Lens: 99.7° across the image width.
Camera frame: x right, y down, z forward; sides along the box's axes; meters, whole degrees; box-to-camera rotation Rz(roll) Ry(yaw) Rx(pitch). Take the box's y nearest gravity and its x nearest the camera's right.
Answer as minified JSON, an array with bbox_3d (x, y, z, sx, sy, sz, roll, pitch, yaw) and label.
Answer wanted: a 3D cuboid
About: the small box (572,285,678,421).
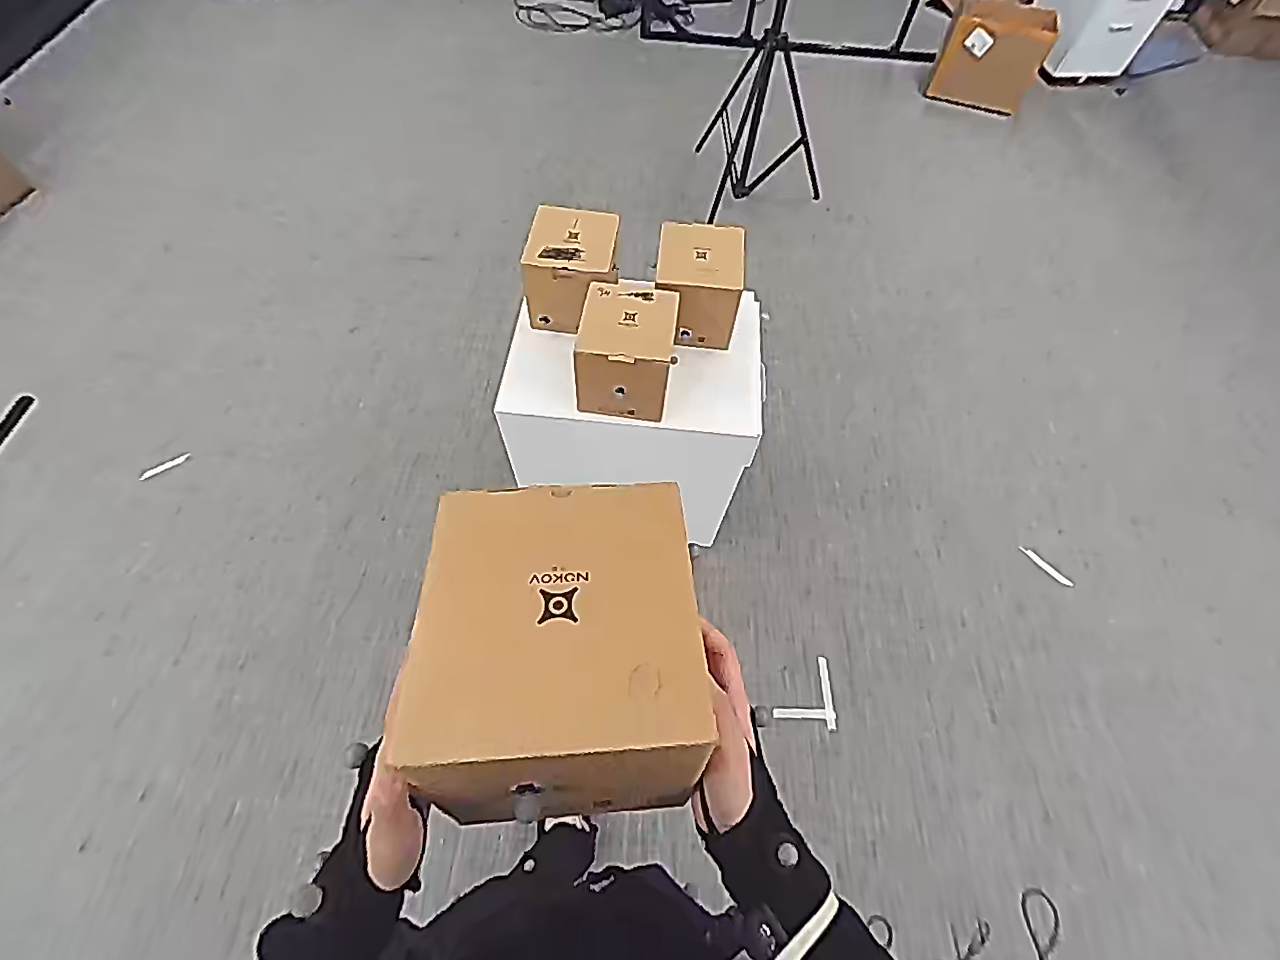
[{"bbox_3d":[-0.025,-0.231,1.006,0.168,0.176,0.179,8,61,1],"label":"small box"}]

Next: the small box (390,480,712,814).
[{"bbox_3d":[-0.051,0.121,0.382,0.168,0.176,0.179,-3,49,-5],"label":"small box"}]

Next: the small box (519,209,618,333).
[{"bbox_3d":[-0.136,-0.416,1.101,0.168,0.176,0.179,7,61,0],"label":"small box"}]

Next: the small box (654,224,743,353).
[{"bbox_3d":[0.113,-0.387,1.102,0.168,0.176,0.179,5,63,1],"label":"small box"}]
